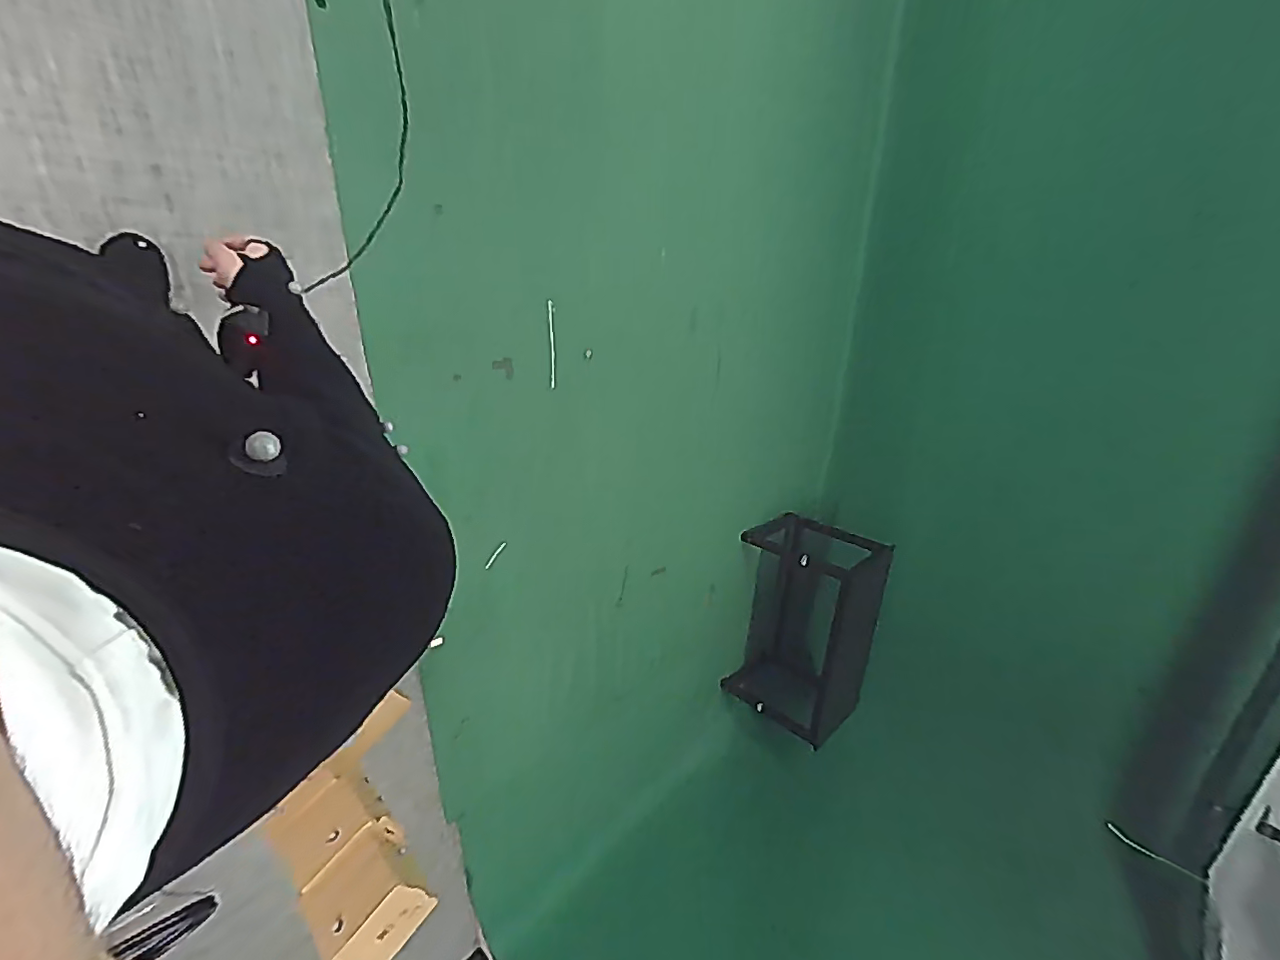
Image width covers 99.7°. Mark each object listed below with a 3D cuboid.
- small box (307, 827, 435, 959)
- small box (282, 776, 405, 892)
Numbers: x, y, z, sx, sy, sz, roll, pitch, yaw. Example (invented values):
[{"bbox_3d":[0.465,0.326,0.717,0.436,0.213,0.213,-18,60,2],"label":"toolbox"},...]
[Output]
[{"bbox_3d":[-0.598,0.921,1.194,0.179,0.176,0.168,-45,136,-26],"label":"small box"},{"bbox_3d":[-0.712,0.857,1.296,0.179,0.176,0.168,-45,135,-26],"label":"small box"}]
